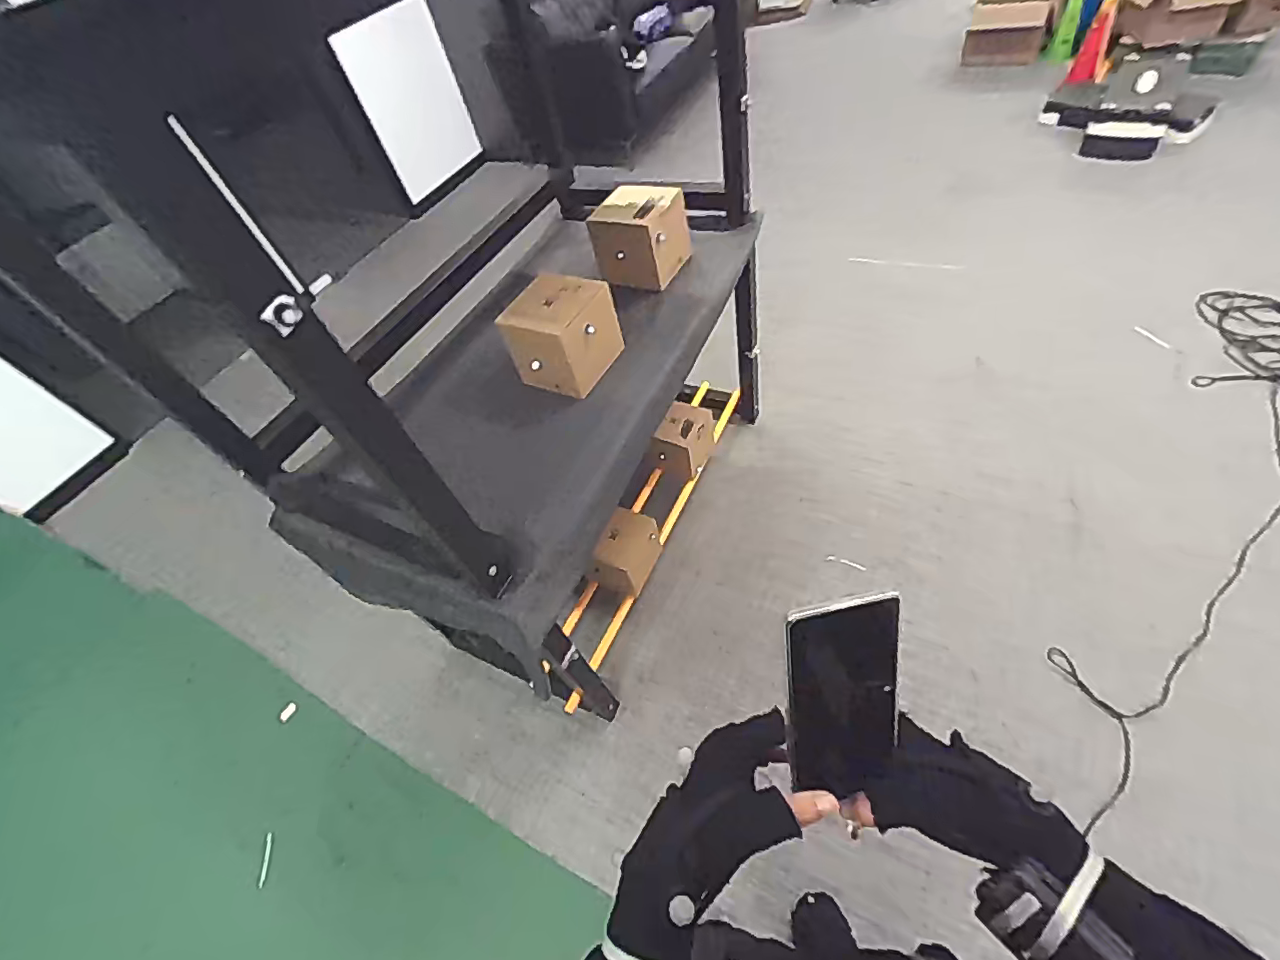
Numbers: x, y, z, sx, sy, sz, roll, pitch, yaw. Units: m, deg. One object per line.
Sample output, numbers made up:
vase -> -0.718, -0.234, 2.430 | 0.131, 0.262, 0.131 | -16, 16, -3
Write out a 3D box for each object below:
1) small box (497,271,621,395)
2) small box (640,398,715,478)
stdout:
small box -> -0.157, -0.303, 1.122 | 0.168, 0.176, 0.179 | 19, 59, 26
small box -> 0.127, -0.130, 1.724 | 0.179, 0.176, 0.168 | 19, 59, 26
